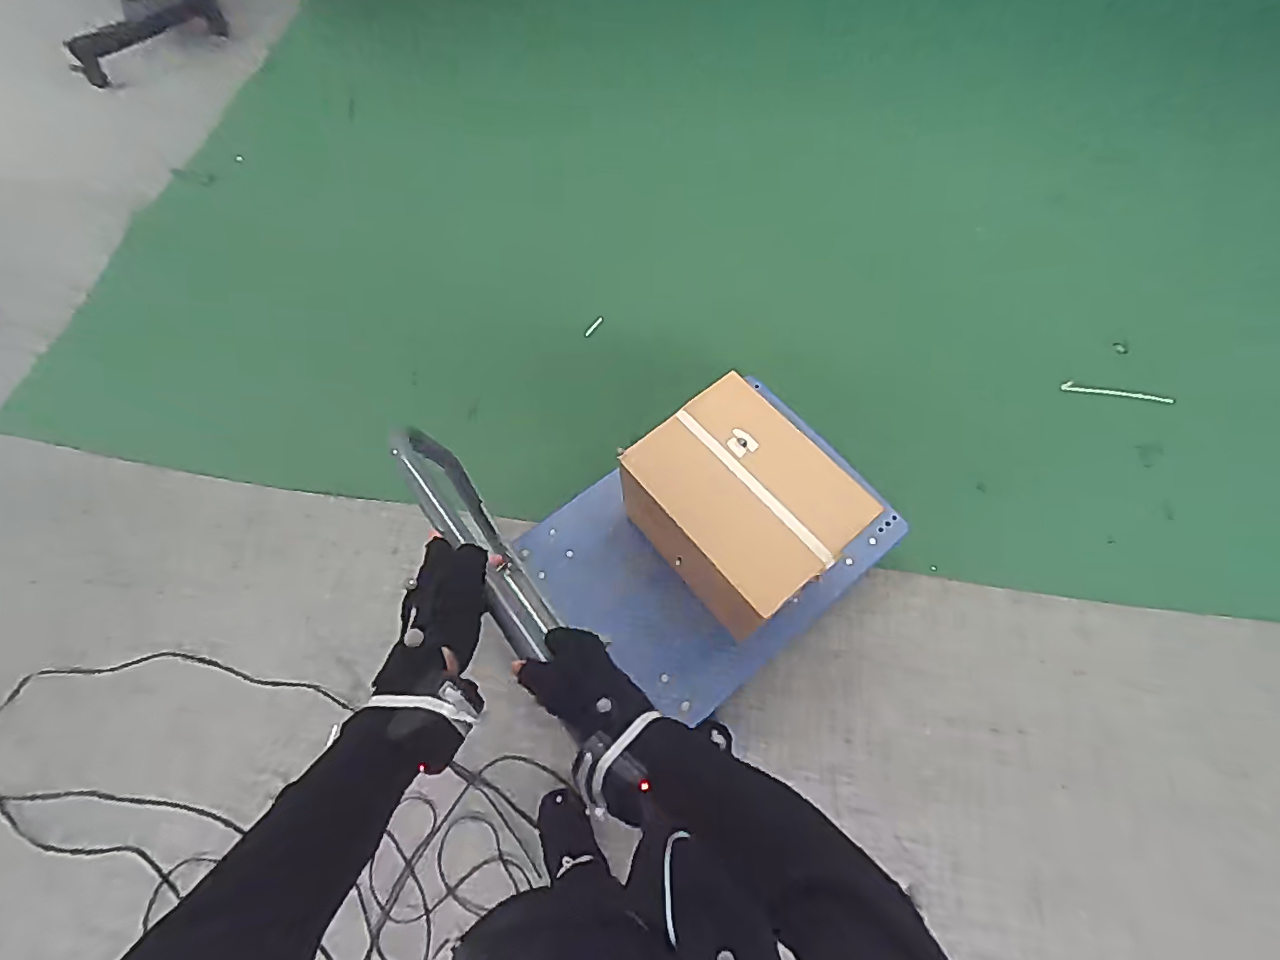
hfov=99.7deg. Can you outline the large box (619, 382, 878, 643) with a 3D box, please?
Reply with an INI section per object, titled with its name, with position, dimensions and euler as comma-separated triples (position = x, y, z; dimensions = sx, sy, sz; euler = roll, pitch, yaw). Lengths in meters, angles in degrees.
[large box]
position = 0.206, 0.079, 1.160
dimensions = 0.320, 0.320, 0.408
euler = -37, 70, -15
